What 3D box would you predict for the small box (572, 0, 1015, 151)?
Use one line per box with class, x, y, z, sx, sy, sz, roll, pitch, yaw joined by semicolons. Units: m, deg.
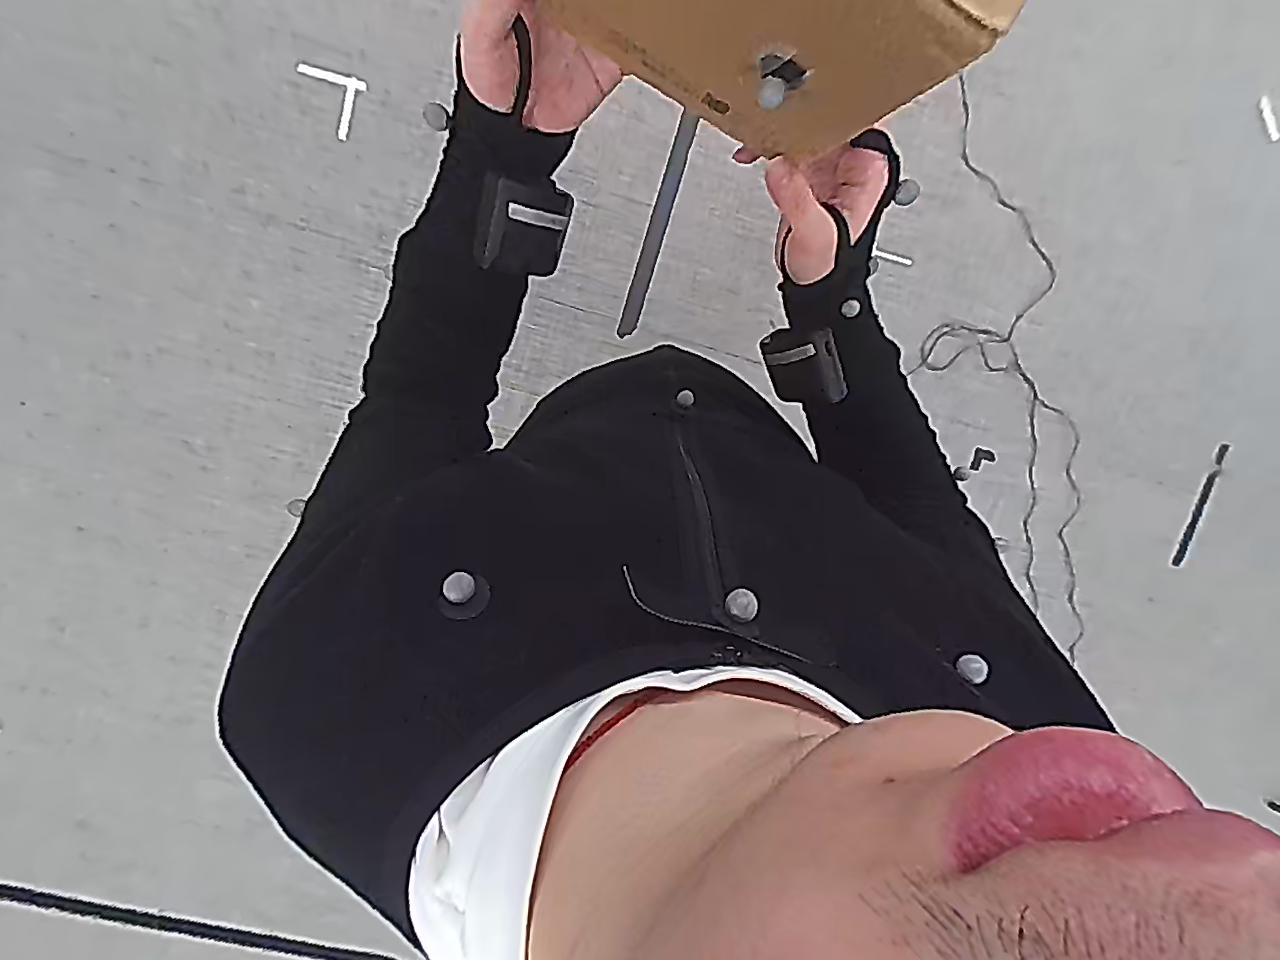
small box;0.068;-0.273;0.217;0.168;0.176;0.179;21;102;-15
